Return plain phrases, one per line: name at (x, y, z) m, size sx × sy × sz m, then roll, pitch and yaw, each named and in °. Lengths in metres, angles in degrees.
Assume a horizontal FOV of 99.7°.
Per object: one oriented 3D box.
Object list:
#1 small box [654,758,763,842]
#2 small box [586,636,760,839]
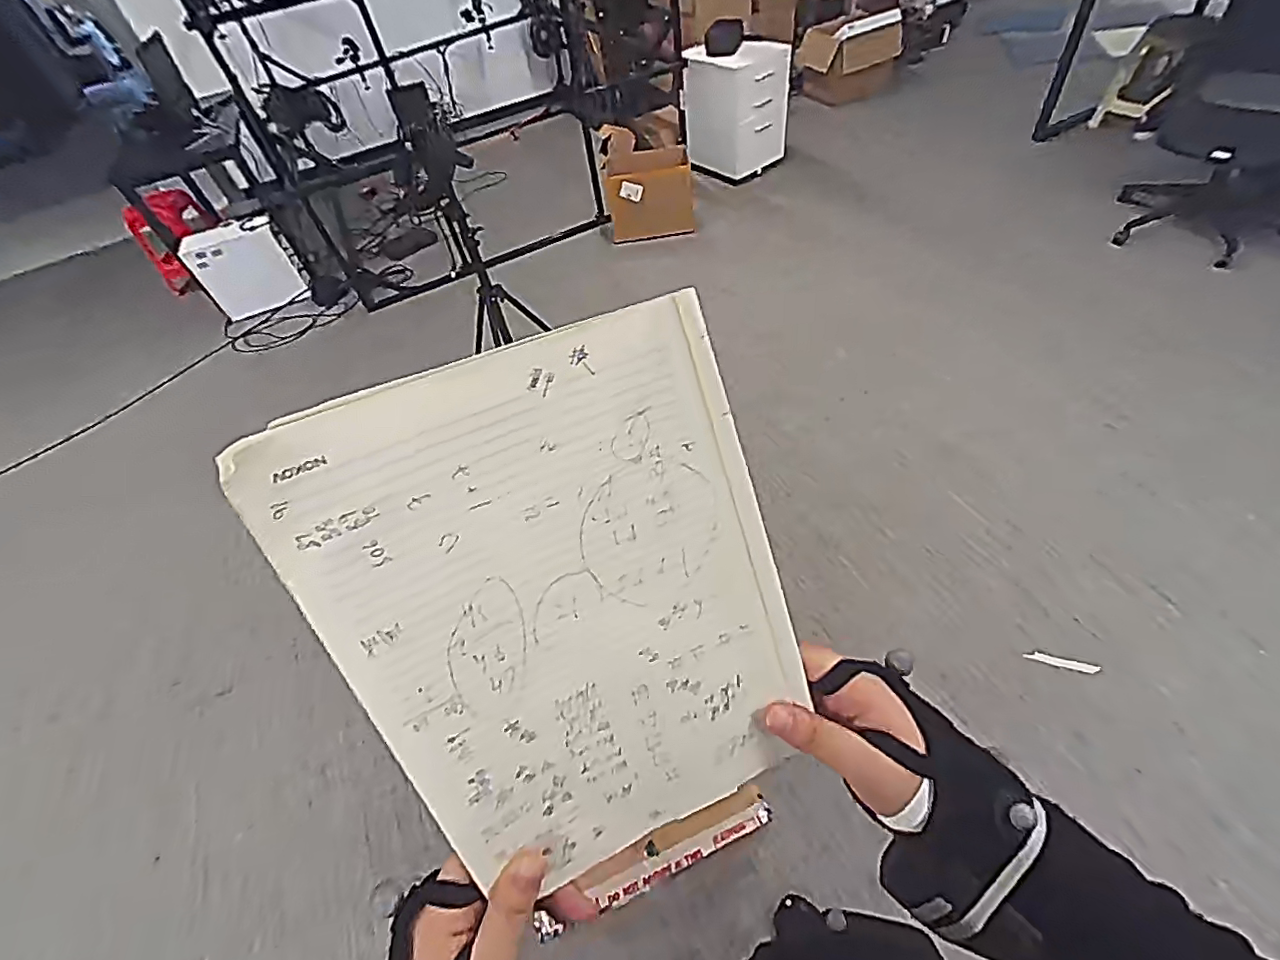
small box at (0.069, 0.435, 0.846) m, size 0.179 × 0.176 × 0.168 m, roll -22°, pitch 52°, yaw -11°
small box at (0.038, 0.341, 0.714) m, size 0.168 × 0.176 × 0.179 m, roll -19°, pitch 53°, yaw -9°
